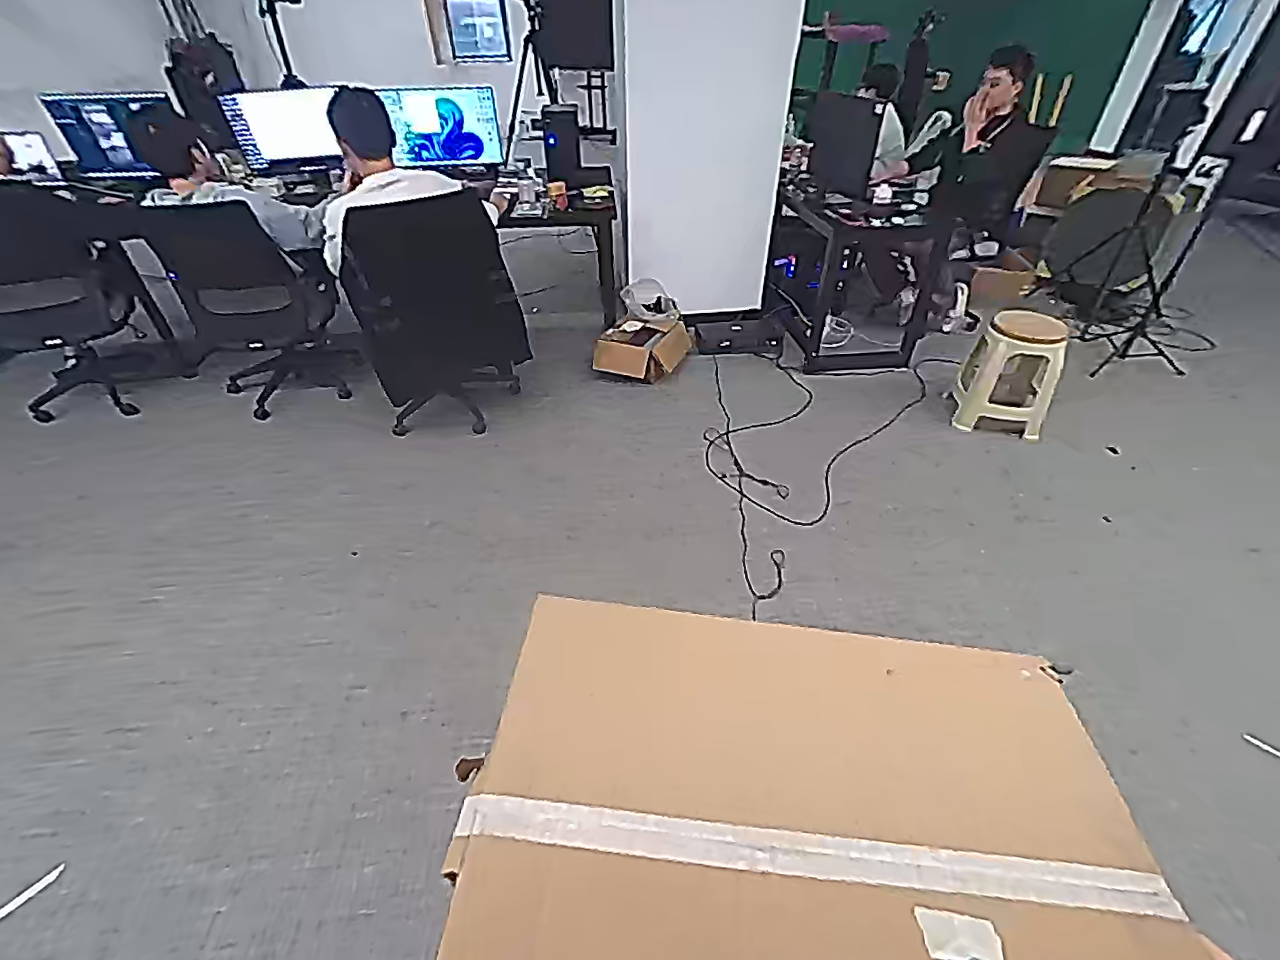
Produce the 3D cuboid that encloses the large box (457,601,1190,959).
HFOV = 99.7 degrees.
[{"bbox_3d":[0.092,0.330,0.422,0.408,0.320,0.320,8,42,0],"label":"large box"}]
